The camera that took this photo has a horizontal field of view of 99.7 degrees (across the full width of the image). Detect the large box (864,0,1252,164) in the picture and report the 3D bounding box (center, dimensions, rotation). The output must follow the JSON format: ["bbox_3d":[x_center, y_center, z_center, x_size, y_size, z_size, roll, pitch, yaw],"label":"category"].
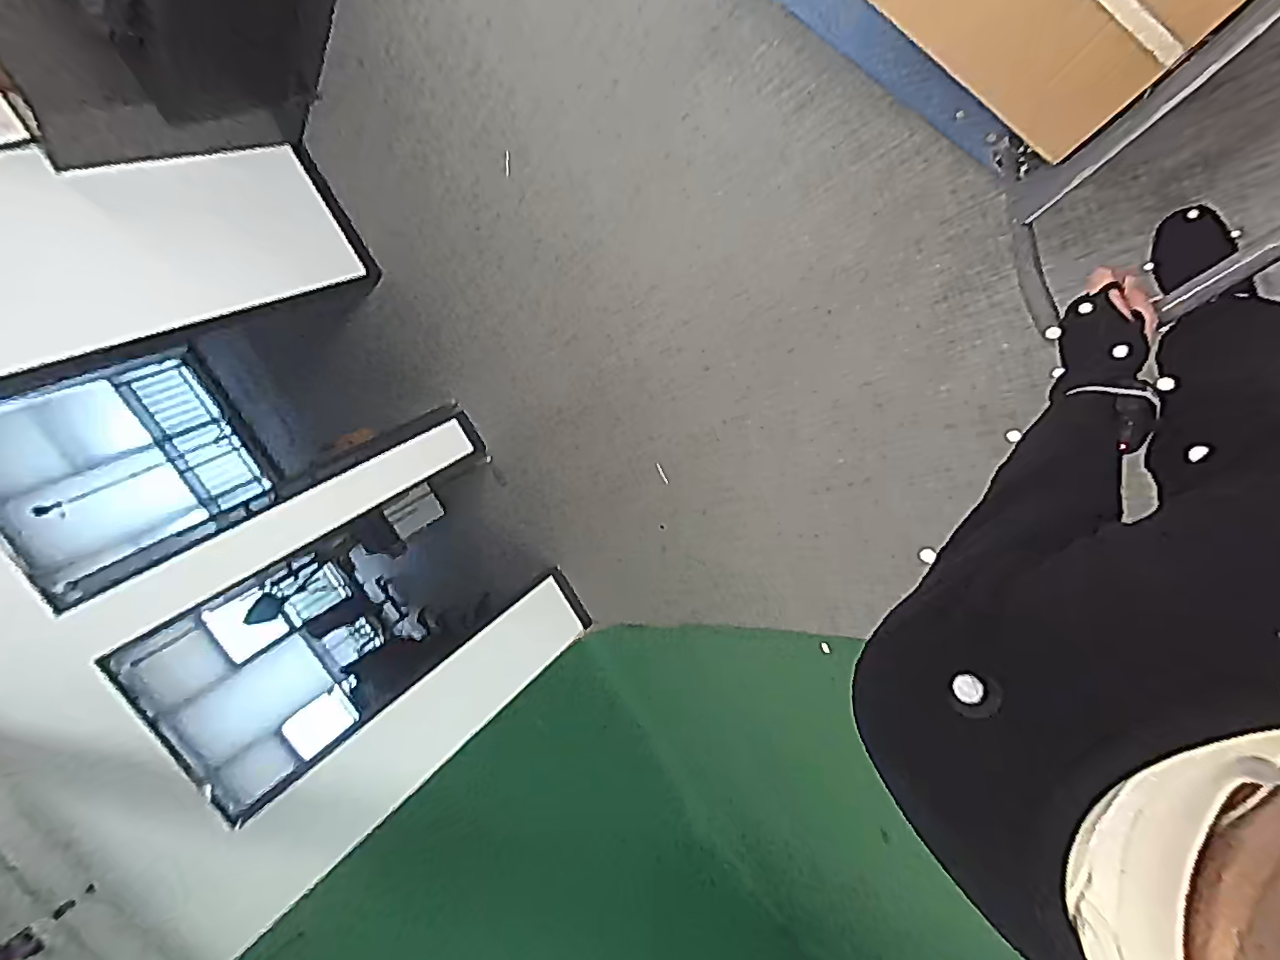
[{"bbox_3d":[0.613,-0.761,0.778,0.408,0.320,0.320,36,143,-6],"label":"large box"}]
